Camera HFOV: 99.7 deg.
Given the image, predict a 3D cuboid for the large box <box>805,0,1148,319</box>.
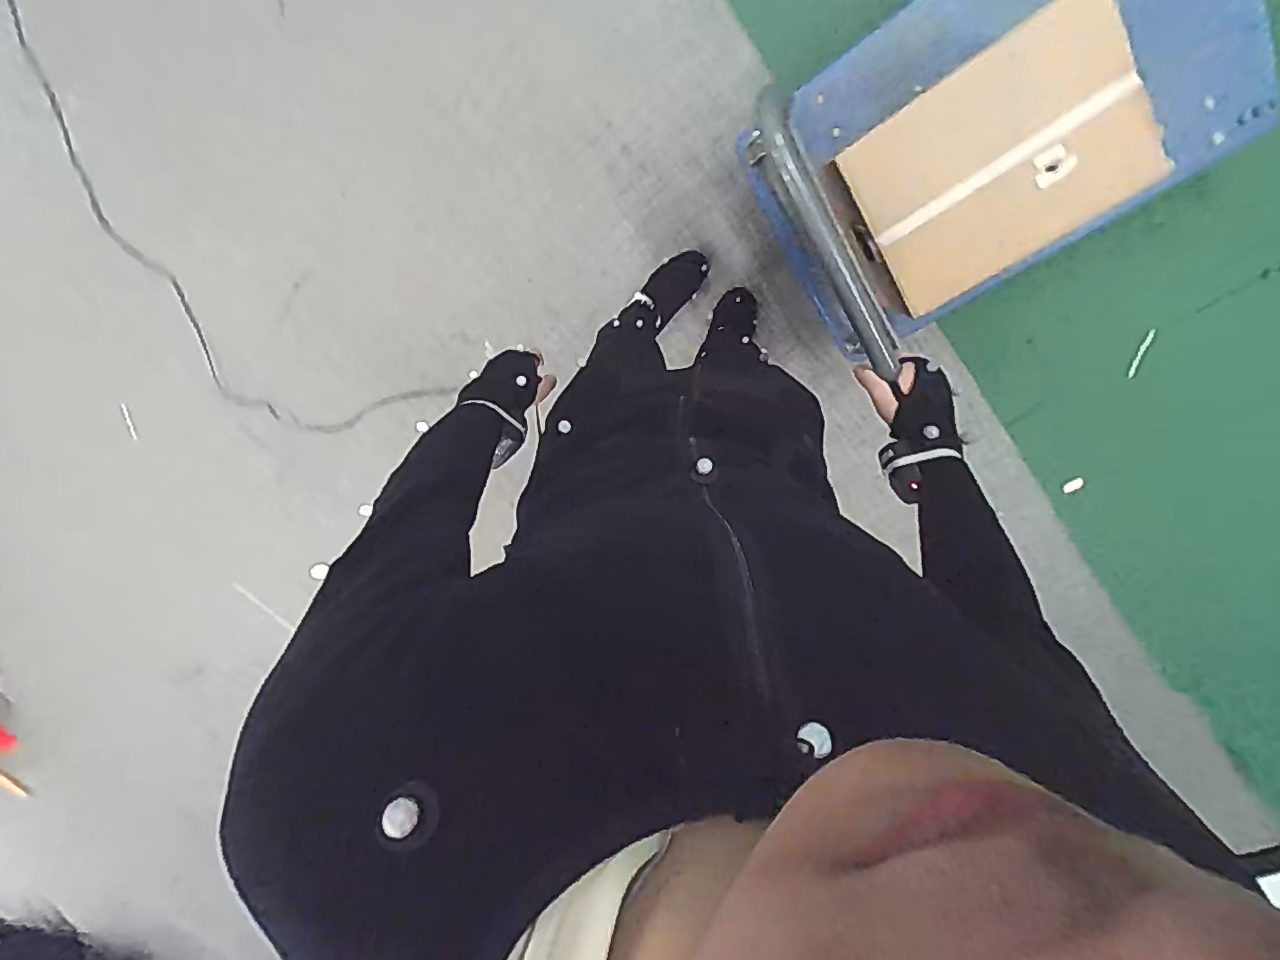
[{"bbox_3d":[0.581,-0.561,1.016,0.408,0.320,0.320,-30,107,19],"label":"large box"}]
